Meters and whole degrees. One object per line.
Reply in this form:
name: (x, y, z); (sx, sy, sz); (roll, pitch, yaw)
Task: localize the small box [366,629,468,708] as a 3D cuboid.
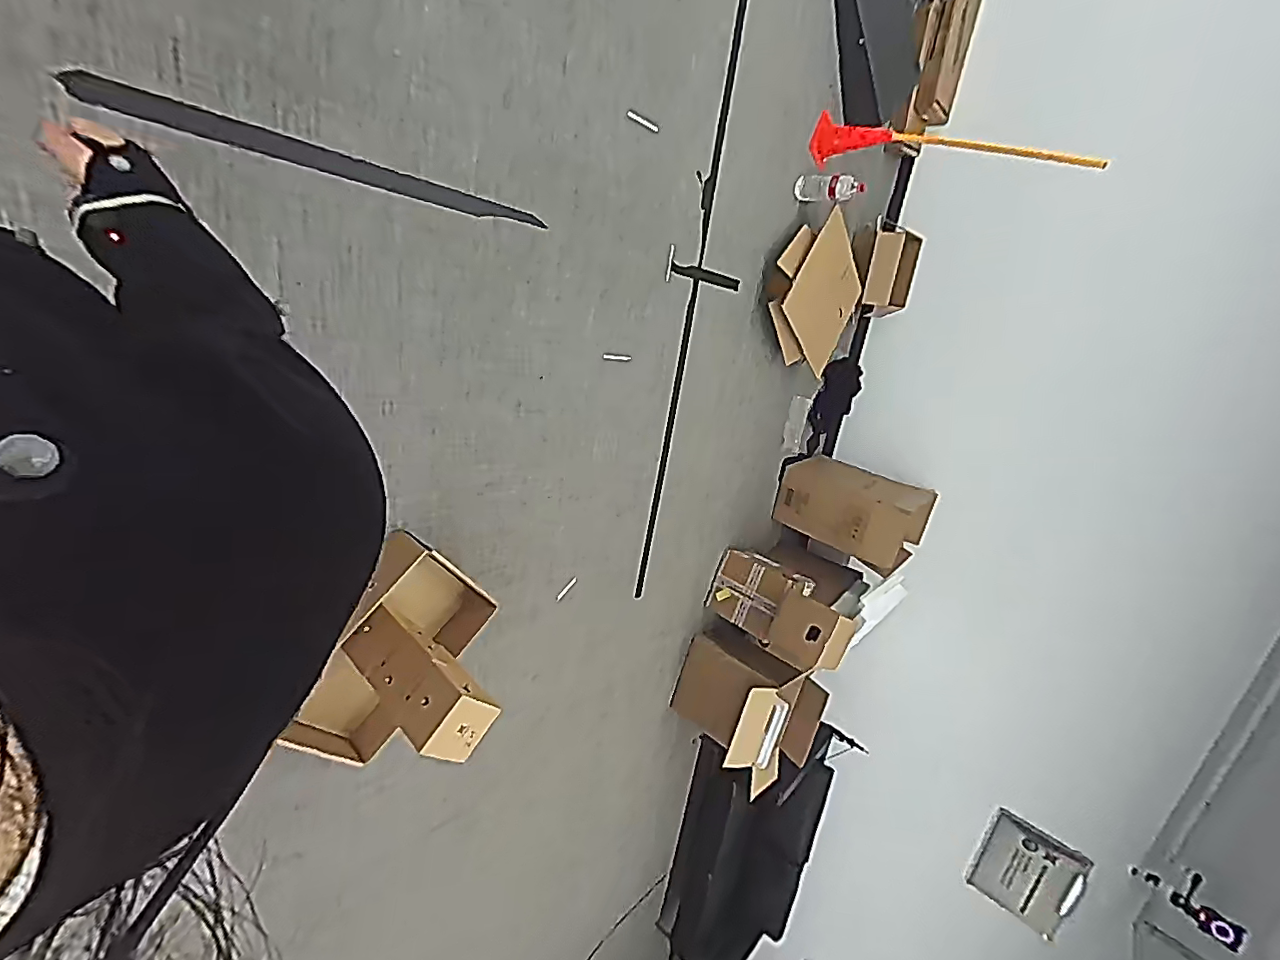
small box: (-0.643, 0.554, 1.552); (0.168, 0.176, 0.179); (-53, 142, -15)

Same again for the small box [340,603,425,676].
small box: (-0.765, 0.504, 1.645); (0.168, 0.176, 0.179); (-51, 140, -19)

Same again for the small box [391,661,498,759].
small box: (-0.525, 0.612, 1.450); (0.168, 0.176, 0.179); (-53, 141, -14)
